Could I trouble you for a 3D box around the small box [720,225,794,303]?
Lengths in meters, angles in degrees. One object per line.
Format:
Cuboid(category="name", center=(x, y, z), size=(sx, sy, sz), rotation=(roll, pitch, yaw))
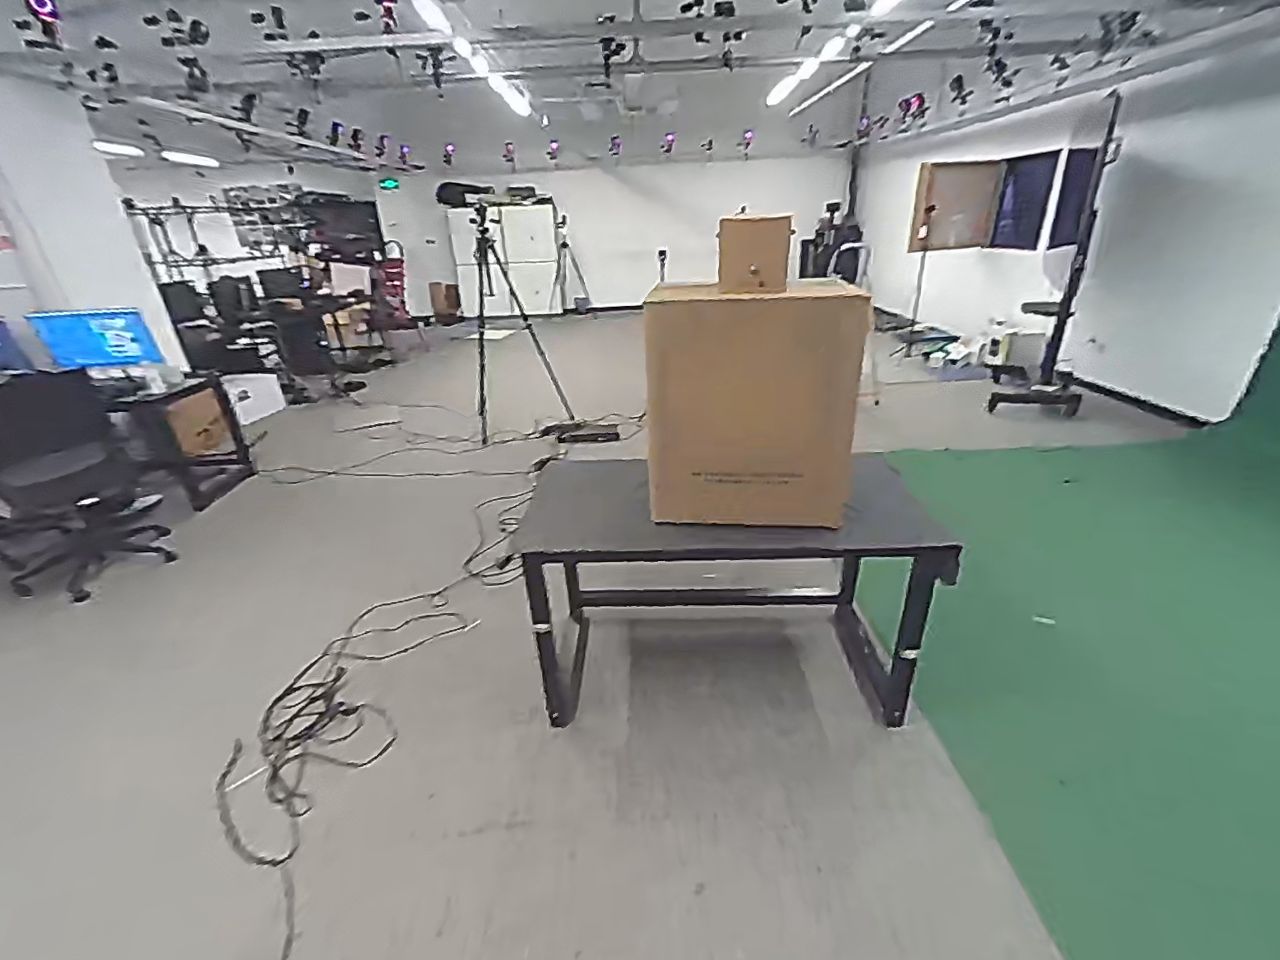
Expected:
Cuboid(category="small box", center=(0.292, -0.548, 1.363), size=(0.168, 0.176, 0.179), rotation=(3, 28, 11))
